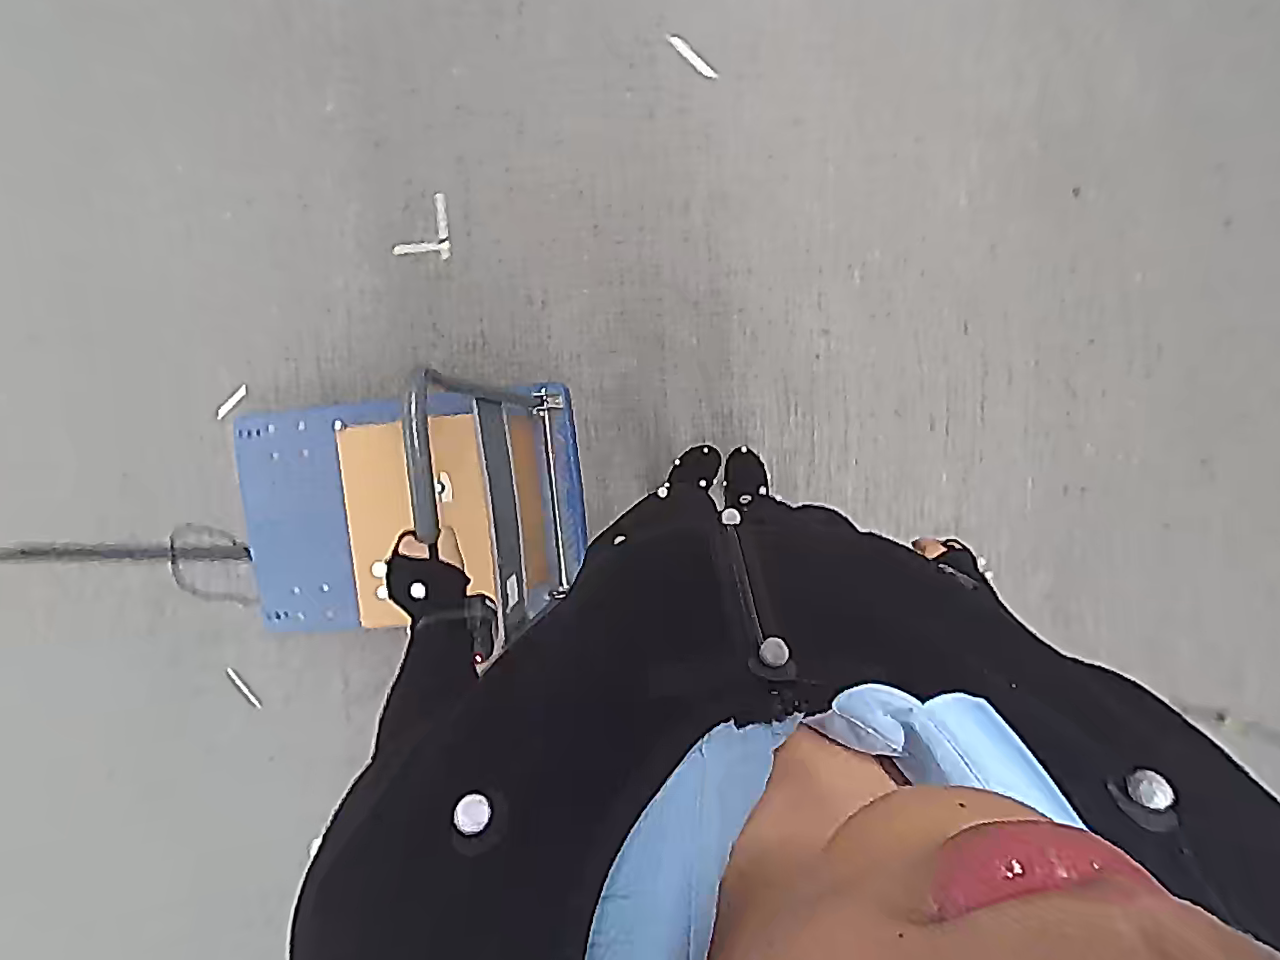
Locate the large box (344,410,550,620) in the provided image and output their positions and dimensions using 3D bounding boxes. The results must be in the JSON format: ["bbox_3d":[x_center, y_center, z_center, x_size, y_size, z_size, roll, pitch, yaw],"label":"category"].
[{"bbox_3d":[-0.405,0.067,1.217,0.320,0.320,0.408,-5,93,4],"label":"large box"}]
